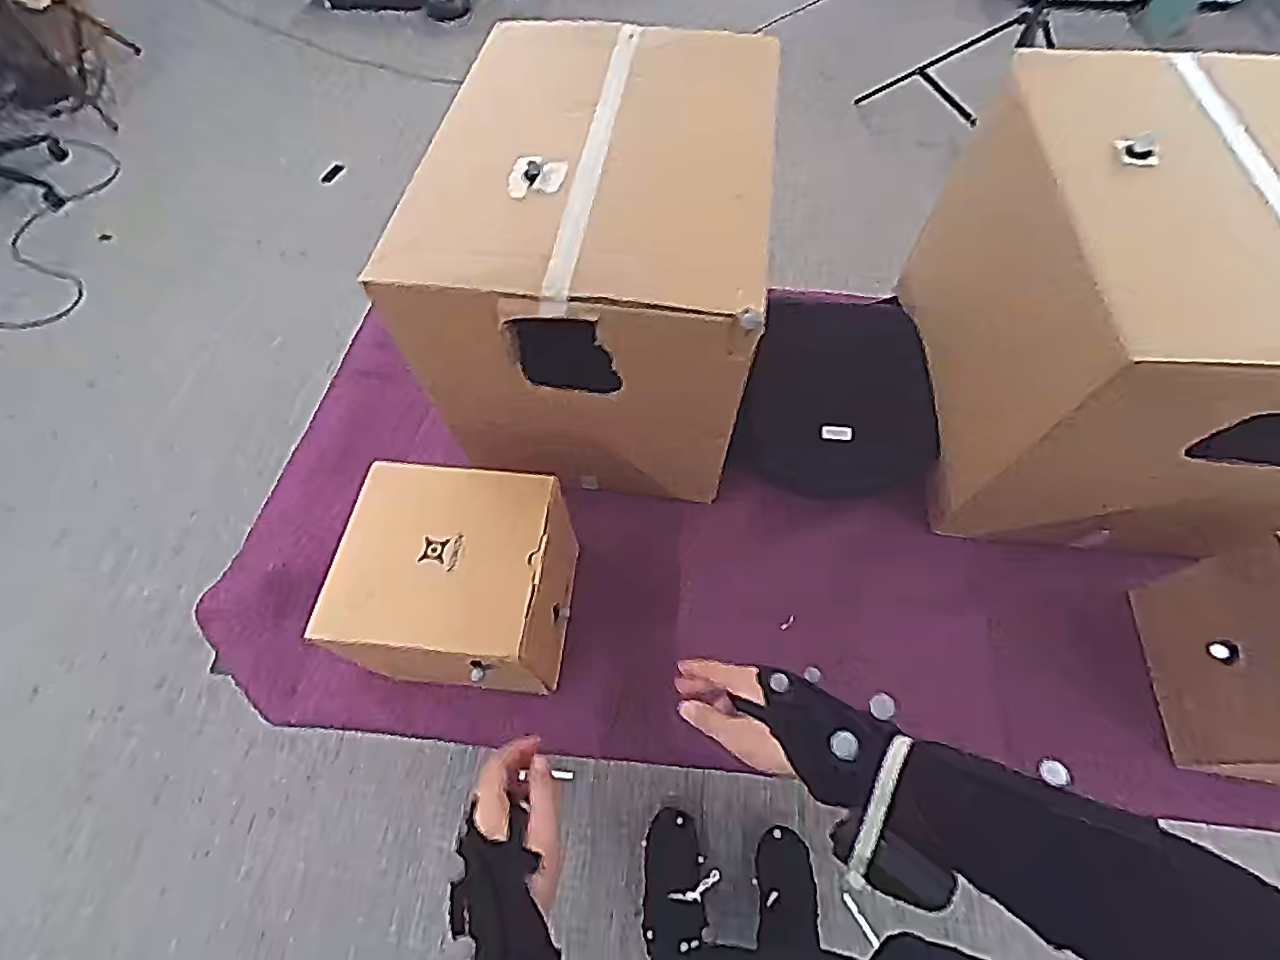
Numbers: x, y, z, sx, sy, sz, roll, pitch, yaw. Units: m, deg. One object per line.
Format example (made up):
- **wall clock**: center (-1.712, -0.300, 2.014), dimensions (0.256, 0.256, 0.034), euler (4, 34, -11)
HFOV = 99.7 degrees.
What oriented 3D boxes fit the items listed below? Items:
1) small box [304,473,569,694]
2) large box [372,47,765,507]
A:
- **small box**: center (-0.177, 0.109, 0.537), dimensions (0.179, 0.176, 0.168), euler (4, 60, 3)
- **large box**: center (-0.040, -0.223, 0.639), dimensions (0.320, 0.320, 0.408), euler (6, 64, 5)
